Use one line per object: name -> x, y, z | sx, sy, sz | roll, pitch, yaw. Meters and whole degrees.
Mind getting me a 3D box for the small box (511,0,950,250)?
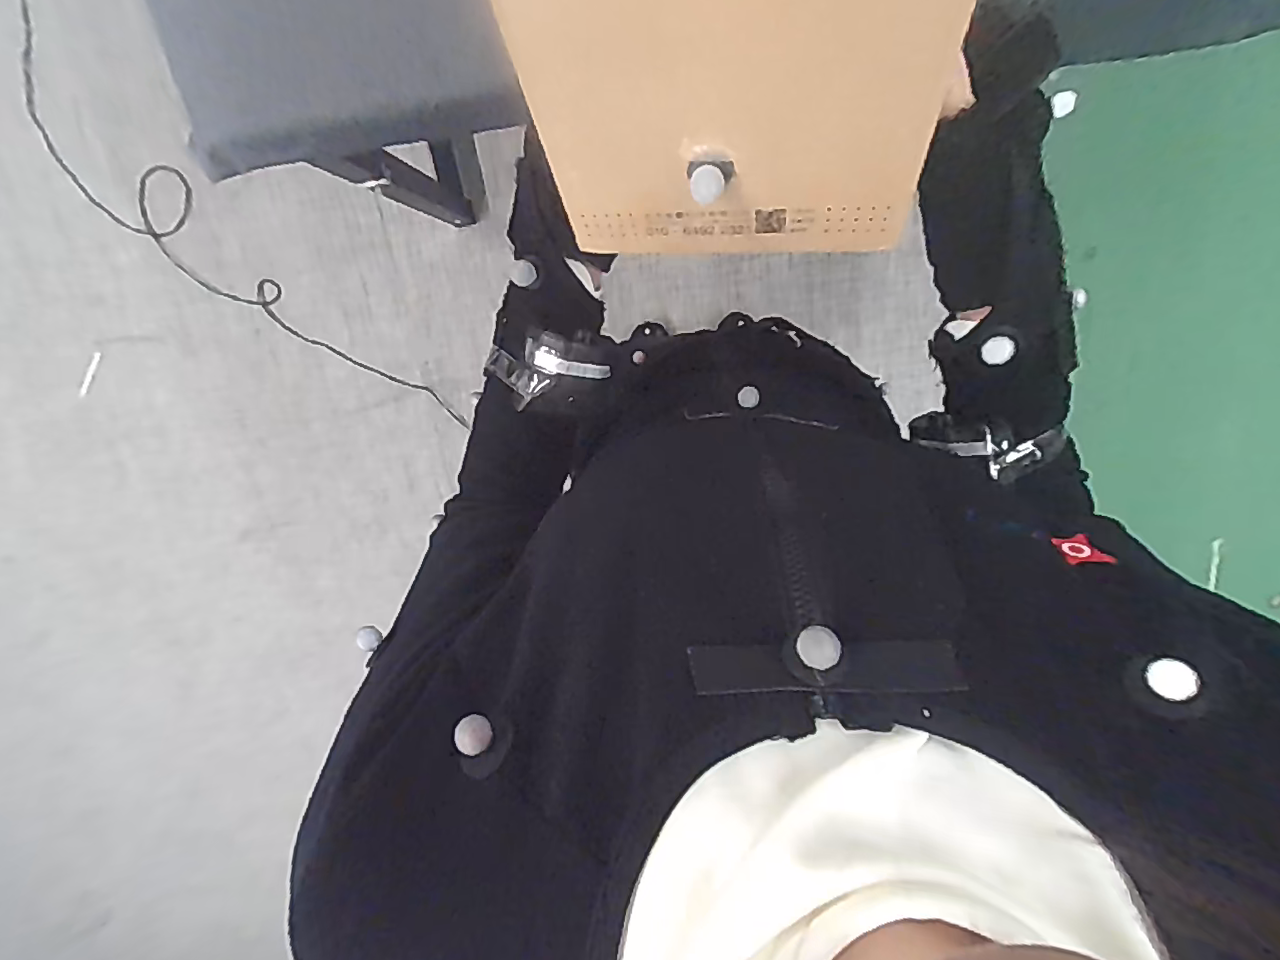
small box -> 0.043, -0.236, 0.247 | 0.168, 0.176, 0.179 | 6, 69, 13
